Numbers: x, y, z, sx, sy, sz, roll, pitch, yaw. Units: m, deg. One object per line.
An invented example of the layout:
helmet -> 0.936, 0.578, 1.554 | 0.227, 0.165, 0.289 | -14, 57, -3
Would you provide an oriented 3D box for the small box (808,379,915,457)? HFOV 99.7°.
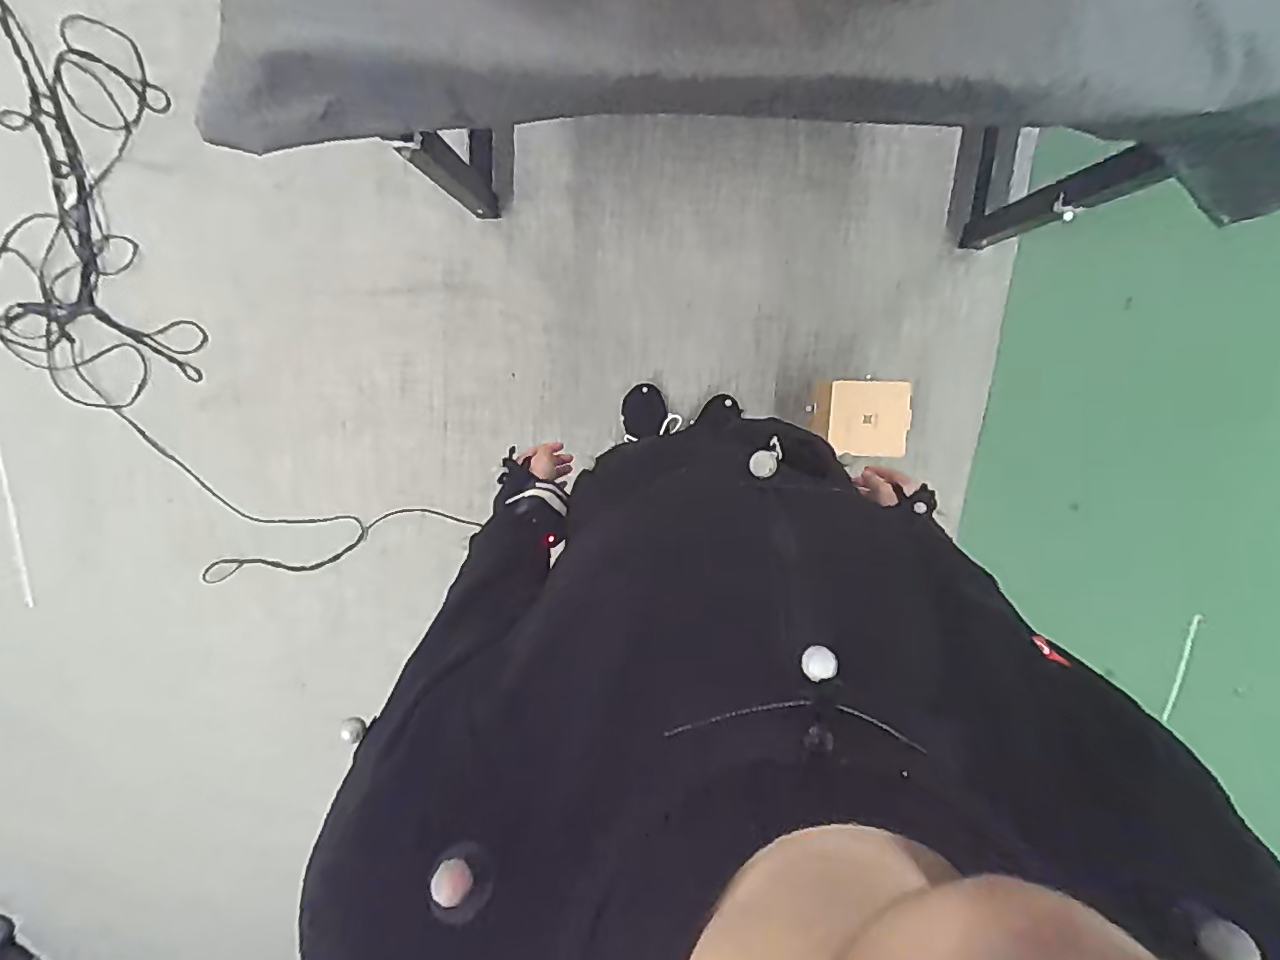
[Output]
small box -> 0.503, -0.147, 1.247 | 0.179, 0.176, 0.168 | 0, 101, 2
